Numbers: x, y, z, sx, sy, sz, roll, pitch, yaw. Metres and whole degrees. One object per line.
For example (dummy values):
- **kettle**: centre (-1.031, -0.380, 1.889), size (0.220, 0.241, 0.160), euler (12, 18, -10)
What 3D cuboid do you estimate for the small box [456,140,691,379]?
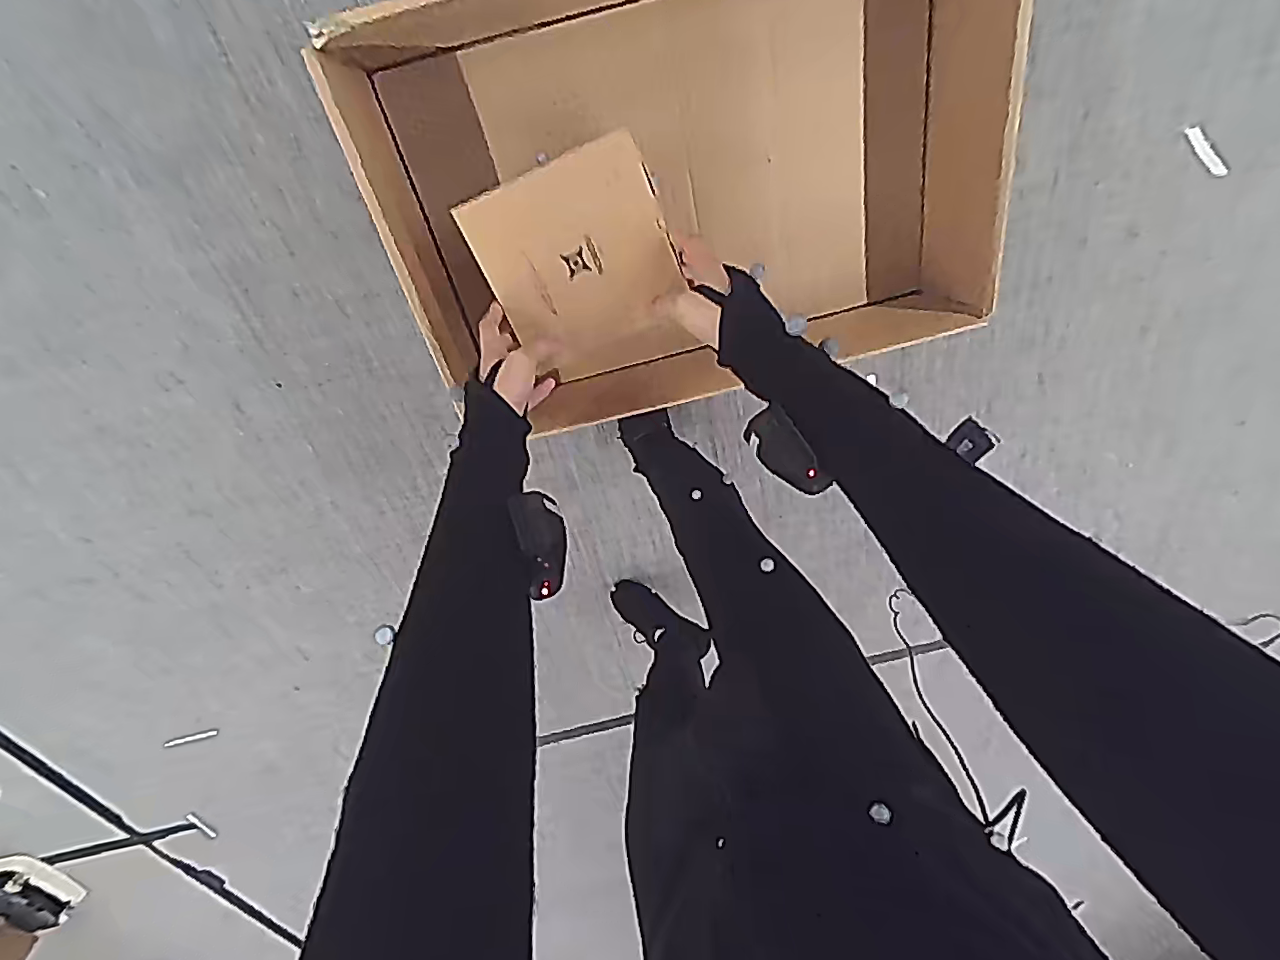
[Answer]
- **small box**: centre (-0.064, -0.235, 0.577), size (0.179, 0.176, 0.168), euler (-22, 117, 6)
